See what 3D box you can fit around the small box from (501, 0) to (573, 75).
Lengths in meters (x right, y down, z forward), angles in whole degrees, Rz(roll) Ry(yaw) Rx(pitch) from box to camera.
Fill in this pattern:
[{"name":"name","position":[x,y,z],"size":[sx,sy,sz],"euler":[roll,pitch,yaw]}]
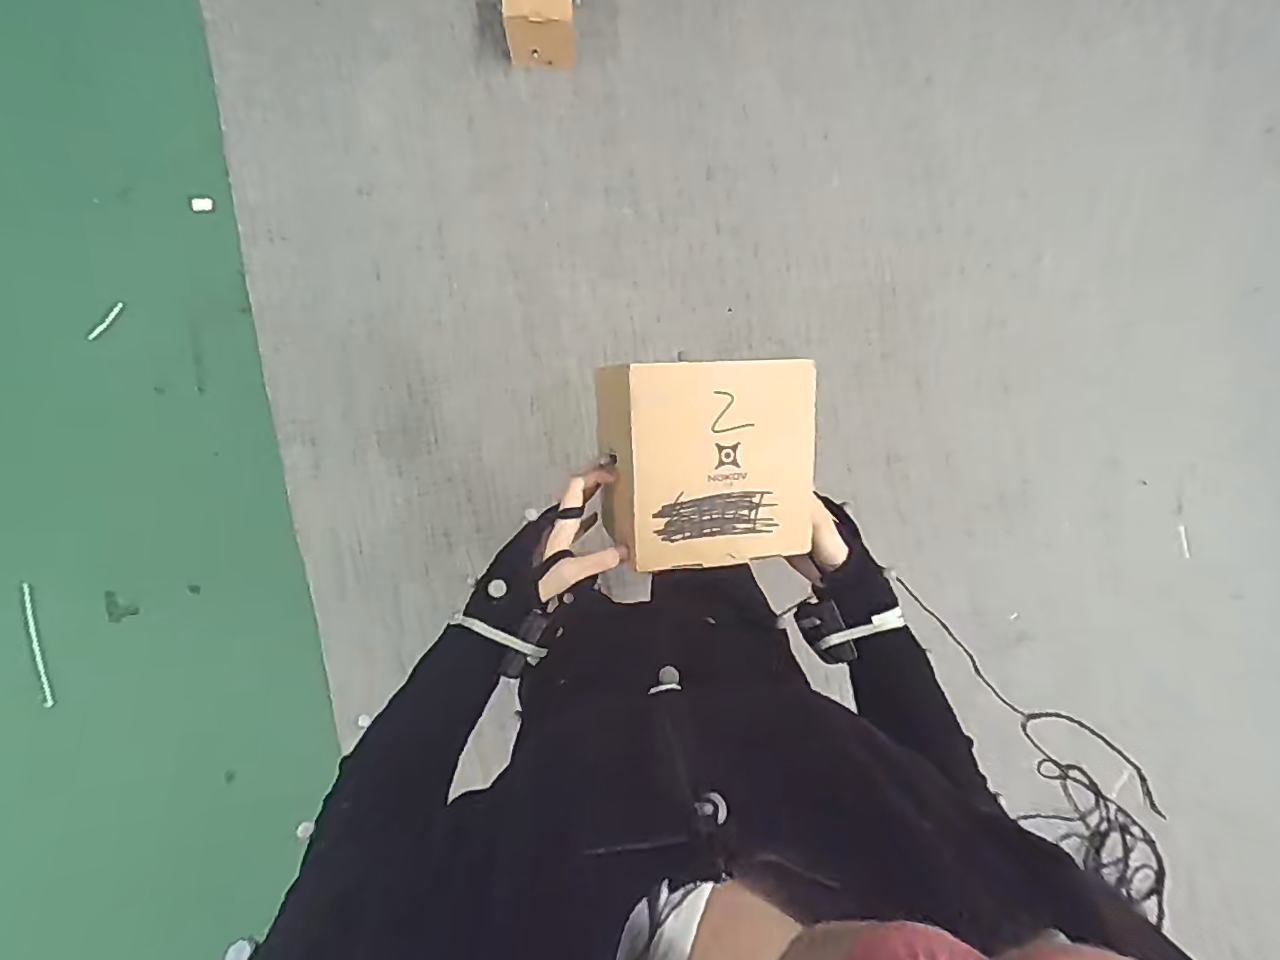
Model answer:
[{"name":"small box","position":[-0.254,-1.176,1.362],"size":[0.168,0.176,0.179],"euler":[1,91,-6]}]
